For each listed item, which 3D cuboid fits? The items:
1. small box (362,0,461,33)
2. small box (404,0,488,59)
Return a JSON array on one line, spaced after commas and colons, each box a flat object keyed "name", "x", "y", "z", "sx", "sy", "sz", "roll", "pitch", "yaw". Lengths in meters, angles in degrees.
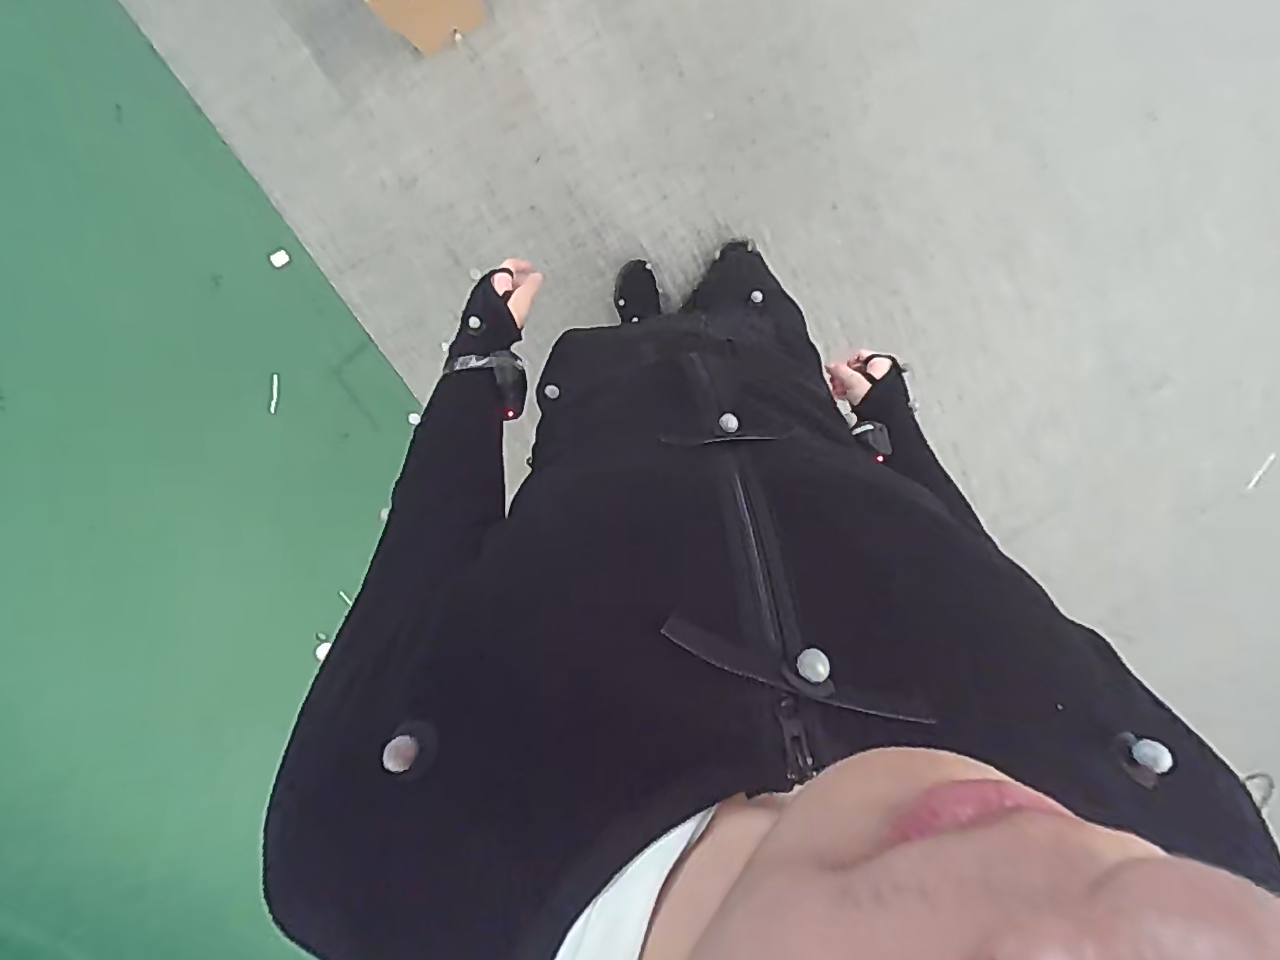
[{"name": "small box", "x": -0.437, "y": -0.960, "z": 0.975, "sx": 0.179, "sy": 0.176, "sz": 0.168, "roll": -24, "pitch": 113, "yaw": 8}, {"name": "small box", "x": -0.436, "y": -1.029, "z": 1.125, "sx": 0.179, "sy": 0.176, "sz": 0.168, "roll": -25, "pitch": 112, "yaw": 8}]
